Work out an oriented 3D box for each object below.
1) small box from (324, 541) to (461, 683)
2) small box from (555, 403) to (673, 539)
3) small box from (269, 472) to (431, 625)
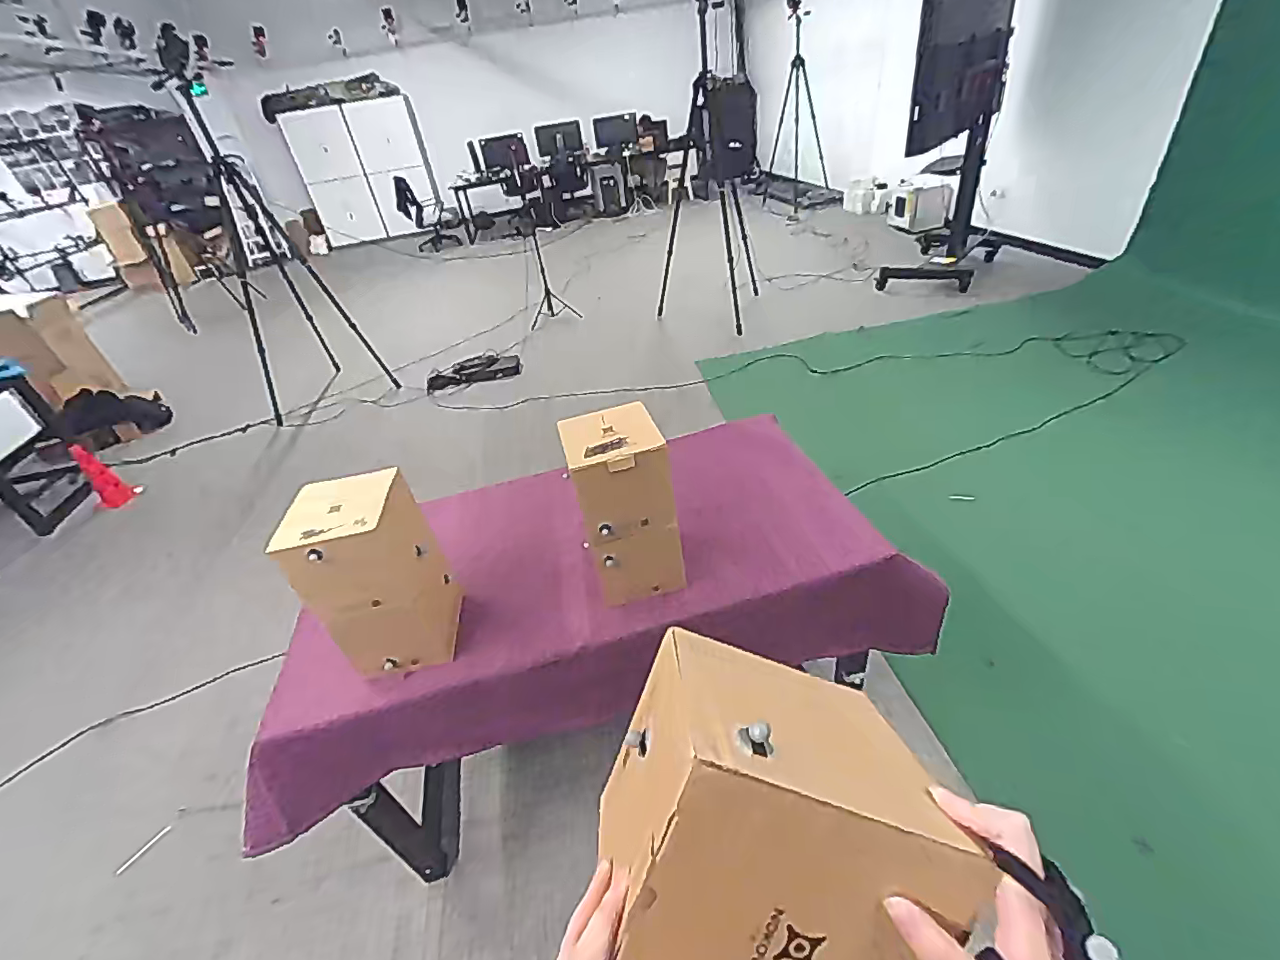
[{"bbox_3d":[-0.448,0.246,1.015,0.168,0.176,0.179,-13,36,-2],"label":"small box"},{"bbox_3d":[-0.046,-0.012,0.983,0.168,0.176,0.179,-15,34,-7],"label":"small box"},{"bbox_3d":[-0.473,0.114,0.919,0.168,0.176,0.179,-13,35,-2],"label":"small box"}]
